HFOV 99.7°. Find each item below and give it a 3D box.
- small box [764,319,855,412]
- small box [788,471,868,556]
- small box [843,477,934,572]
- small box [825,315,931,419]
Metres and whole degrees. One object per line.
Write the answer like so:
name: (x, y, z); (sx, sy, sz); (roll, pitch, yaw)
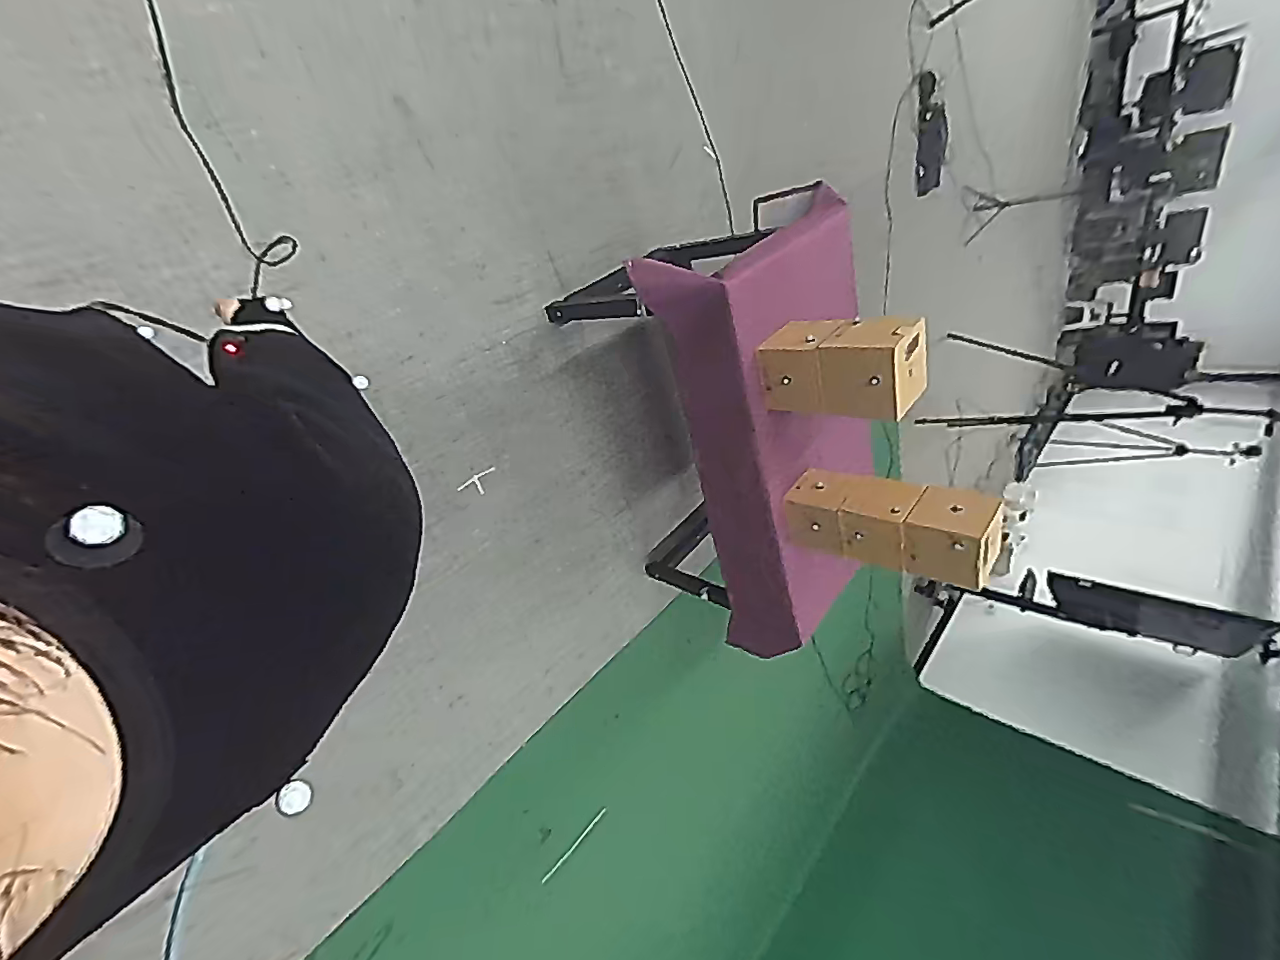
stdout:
small box: (0.419, -0.284, 1.331); (0.179, 0.176, 0.168); (-40, 126, -32)
small box: (0.544, 0.088, 1.548); (0.168, 0.176, 0.179); (-40, 125, -31)
small box: (0.661, 0.109, 1.436); (0.179, 0.176, 0.168); (-39, 125, -31)
small box: (0.533, -0.256, 1.215); (0.168, 0.176, 0.179); (-40, 126, -31)
